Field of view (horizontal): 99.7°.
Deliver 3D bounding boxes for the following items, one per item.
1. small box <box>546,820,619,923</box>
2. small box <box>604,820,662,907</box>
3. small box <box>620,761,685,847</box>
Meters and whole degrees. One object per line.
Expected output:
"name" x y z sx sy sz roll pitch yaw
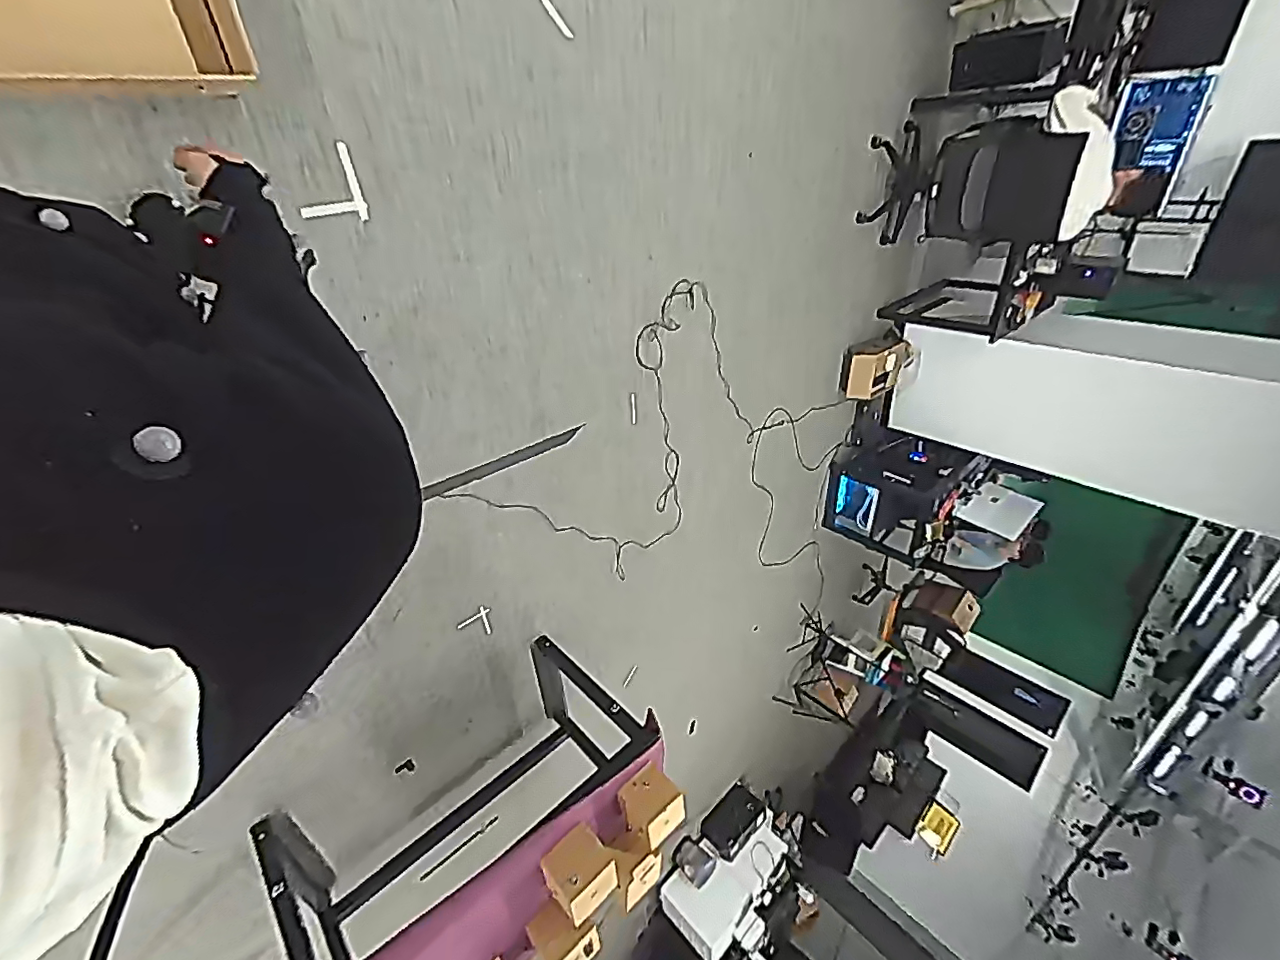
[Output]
"small box" -0.192 1.266 1.758 0.179 0.176 0.168 -28 129 -35
"small box" -0.037 1.405 1.999 0.168 0.176 0.179 -22 125 -38
"small box" 0.045 1.161 1.951 0.168 0.176 0.179 -30 129 -31
